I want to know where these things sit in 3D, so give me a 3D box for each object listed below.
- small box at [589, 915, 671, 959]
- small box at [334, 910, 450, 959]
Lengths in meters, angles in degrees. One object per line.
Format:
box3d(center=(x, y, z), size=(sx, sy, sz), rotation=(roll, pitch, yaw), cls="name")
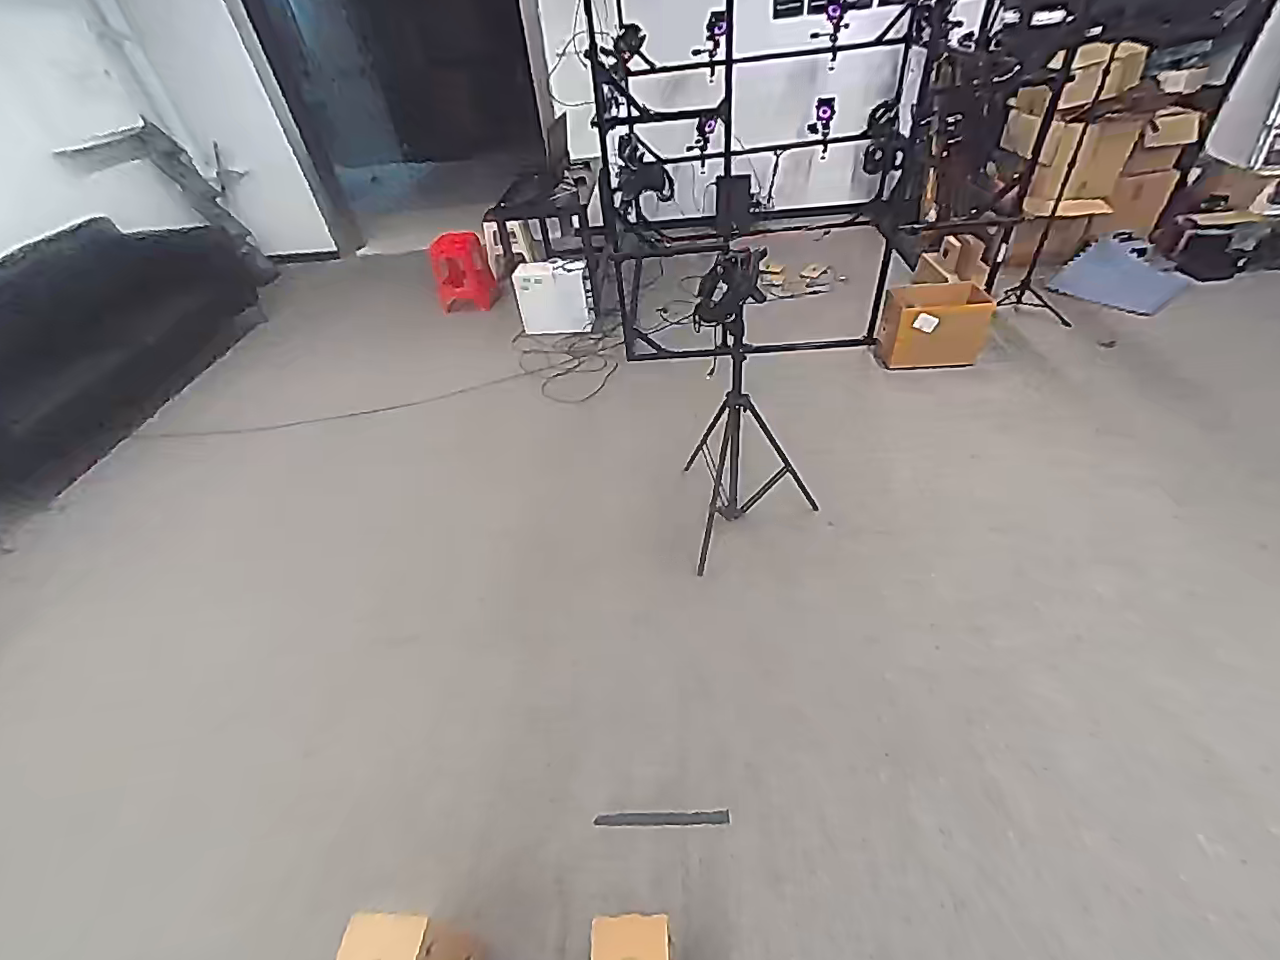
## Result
box3d(center=(-0.017, 1.059, 1.155), size=(0.168, 0.176, 0.179), rotation=(-5, 40, 3), cls="small box")
box3d(center=(-0.496, 0.980, 1.065), size=(0.168, 0.176, 0.179), rotation=(-3, 42, 7), cls="small box")
